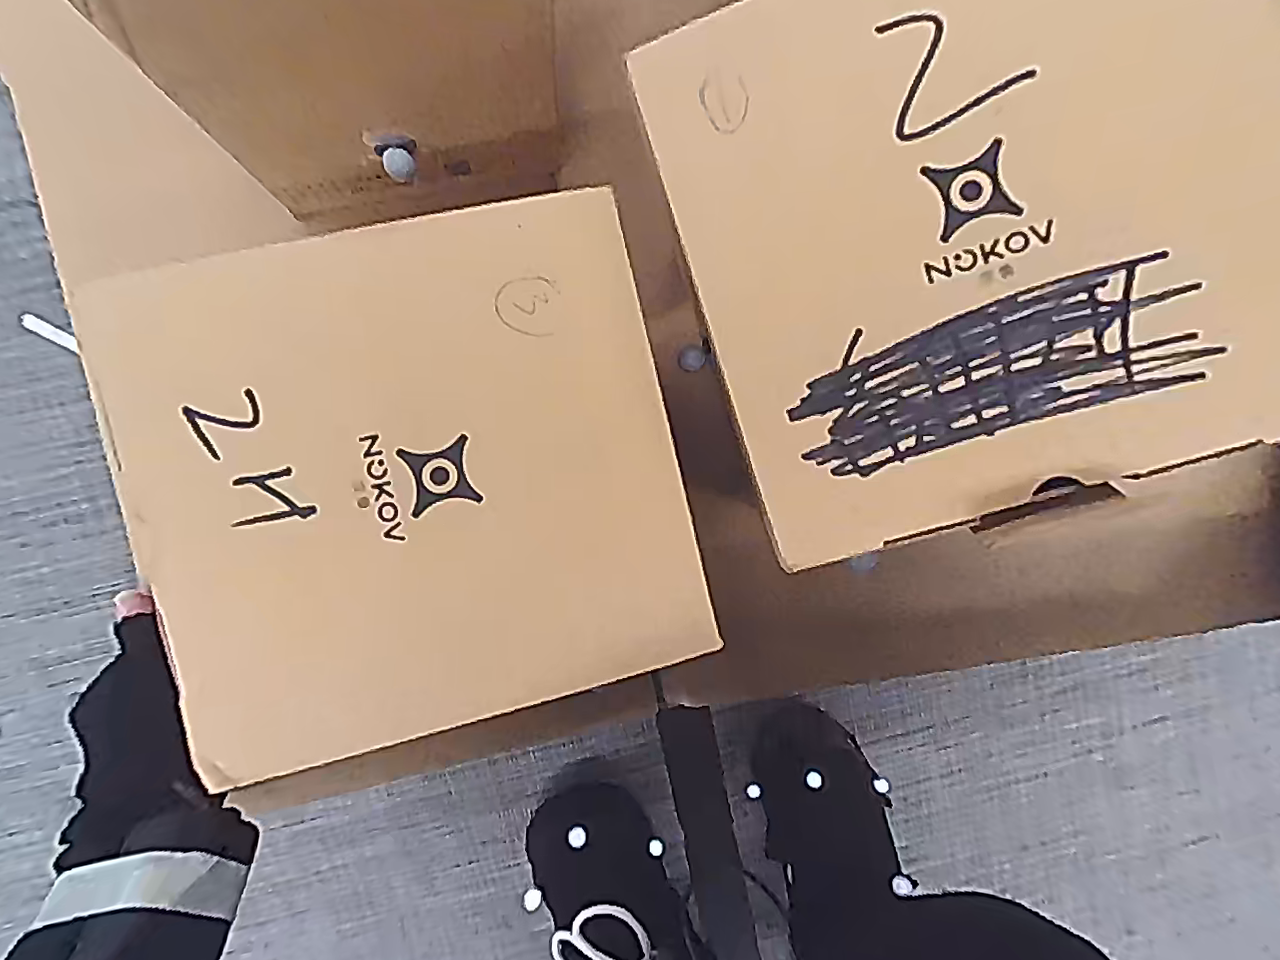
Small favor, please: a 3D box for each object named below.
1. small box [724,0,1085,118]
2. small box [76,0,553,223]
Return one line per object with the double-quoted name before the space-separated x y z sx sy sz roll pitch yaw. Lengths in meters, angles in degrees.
"small box" 0.118 -0.294 0.230 0.168 0.176 0.179 -9 91 9
"small box" -0.142 -0.257 0.259 0.168 0.176 0.179 -14 92 -6
